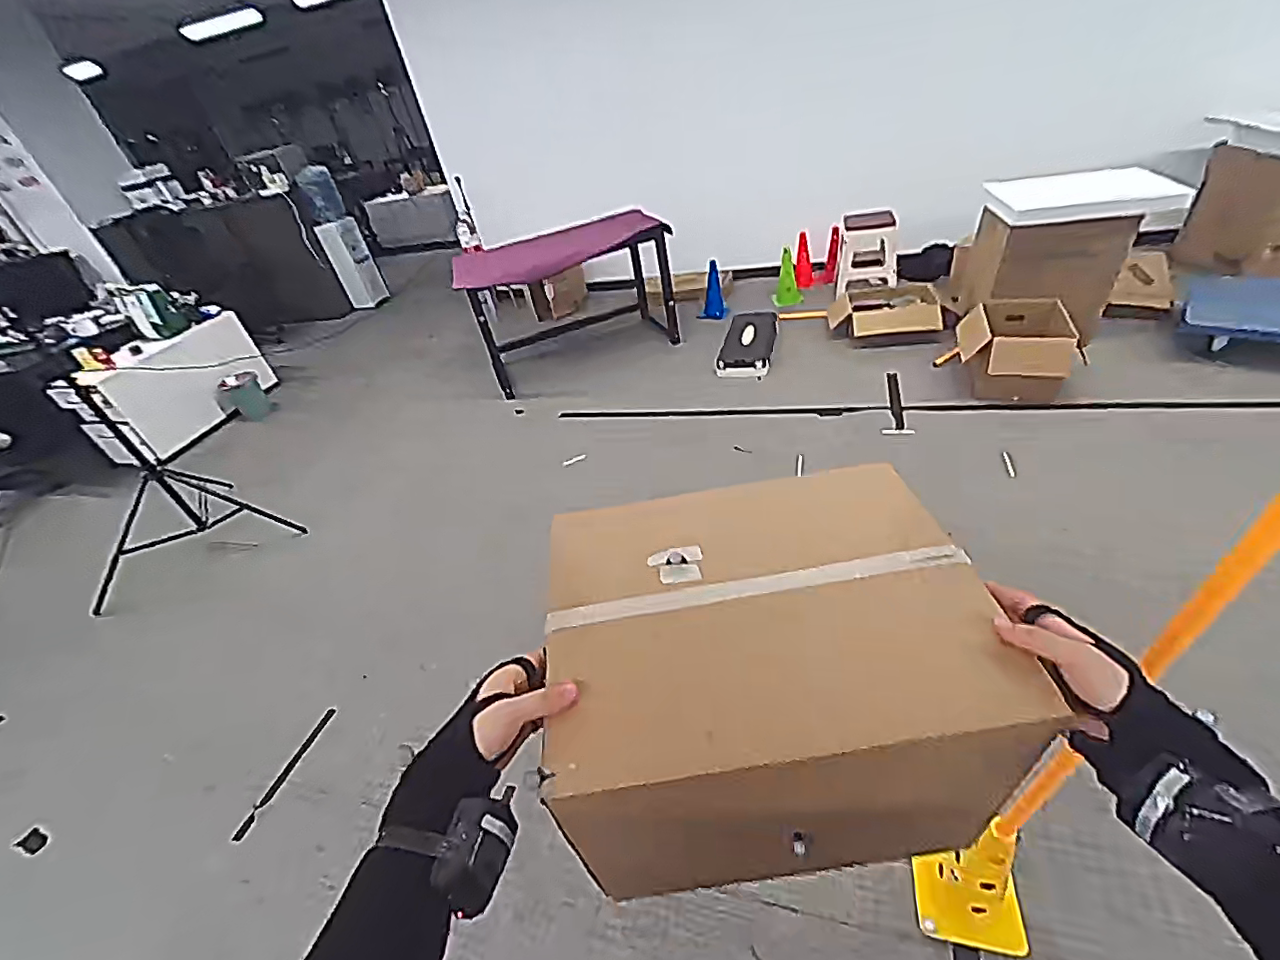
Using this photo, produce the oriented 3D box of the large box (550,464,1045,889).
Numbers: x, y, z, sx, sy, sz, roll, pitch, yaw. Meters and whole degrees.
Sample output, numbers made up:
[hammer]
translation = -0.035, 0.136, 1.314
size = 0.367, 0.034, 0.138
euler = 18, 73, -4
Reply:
[large box]
translation = 0.133, 0.225, 0.630
size = 0.408, 0.320, 0.320
euler = -11, 39, 2
